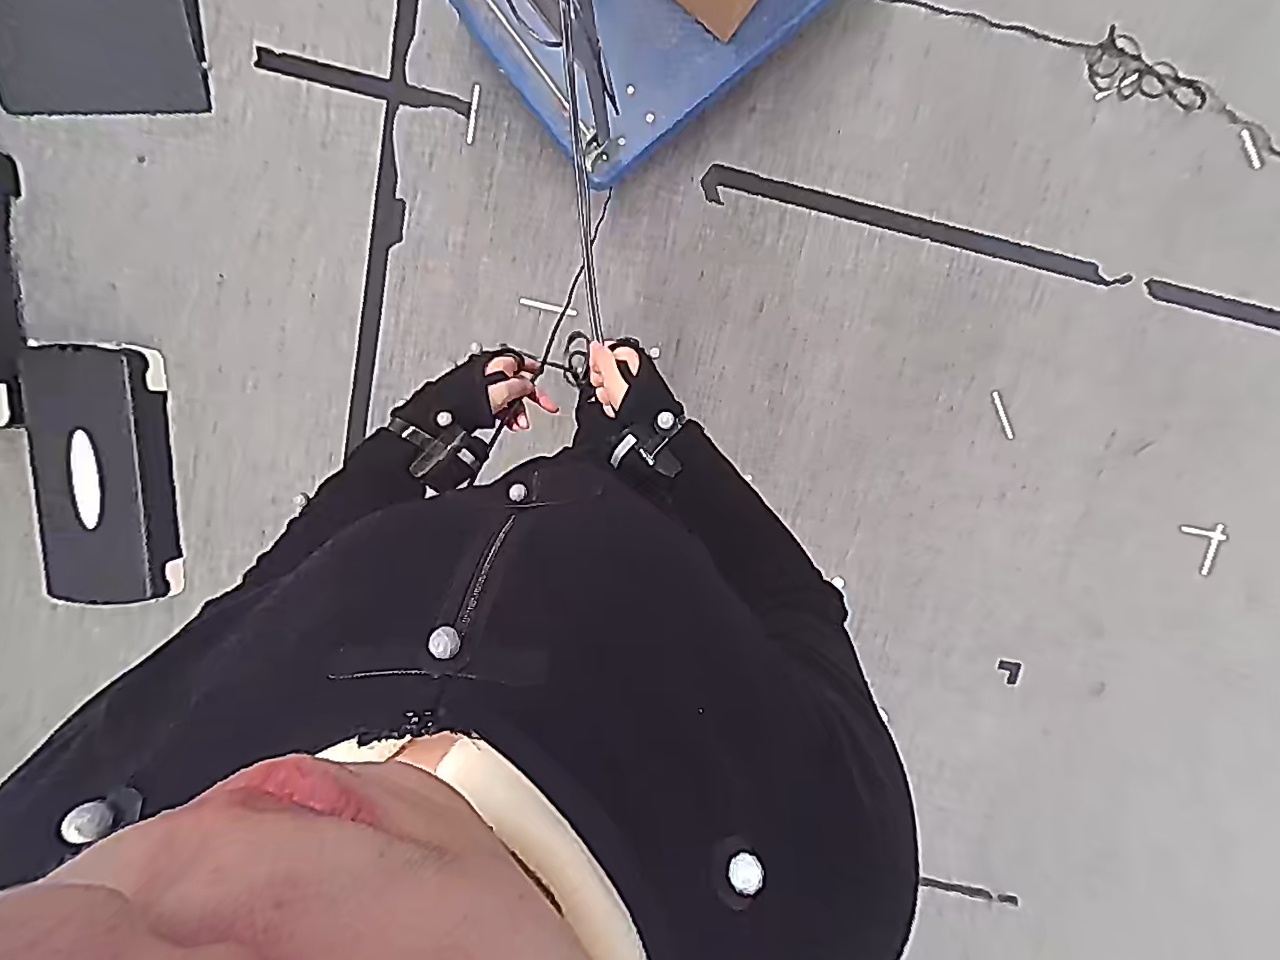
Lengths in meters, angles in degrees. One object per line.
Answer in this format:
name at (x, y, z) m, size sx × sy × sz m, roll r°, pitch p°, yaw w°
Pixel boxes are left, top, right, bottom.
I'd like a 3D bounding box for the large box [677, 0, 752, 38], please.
large box at (0.118, -1.163, 0.986) m, size 0.408 × 0.320 × 0.320 m, roll 37°, pitch 96°, yaw -7°
